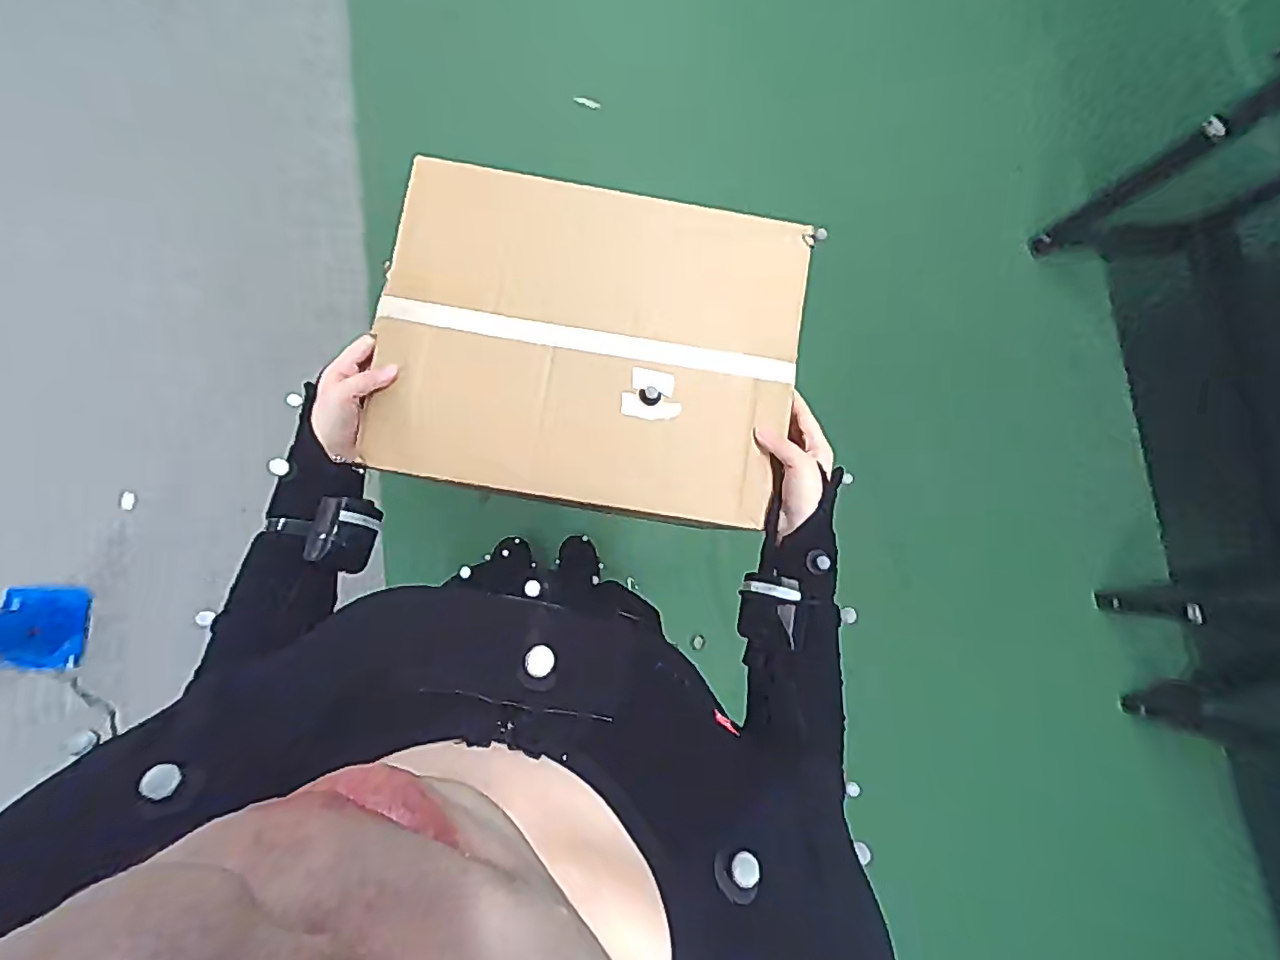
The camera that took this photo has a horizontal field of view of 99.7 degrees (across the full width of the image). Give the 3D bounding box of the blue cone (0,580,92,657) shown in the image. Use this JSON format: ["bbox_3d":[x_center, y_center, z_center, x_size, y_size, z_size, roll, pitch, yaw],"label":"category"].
[{"bbox_3d":[-1.481,0.329,1.200,0.192,0.380,0.193,4,84,-6],"label":"blue cone"}]

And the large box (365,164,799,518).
[{"bbox_3d":[-0.060,-0.129,0.682,0.408,0.320,0.320,8,86,-3],"label":"large box"}]
